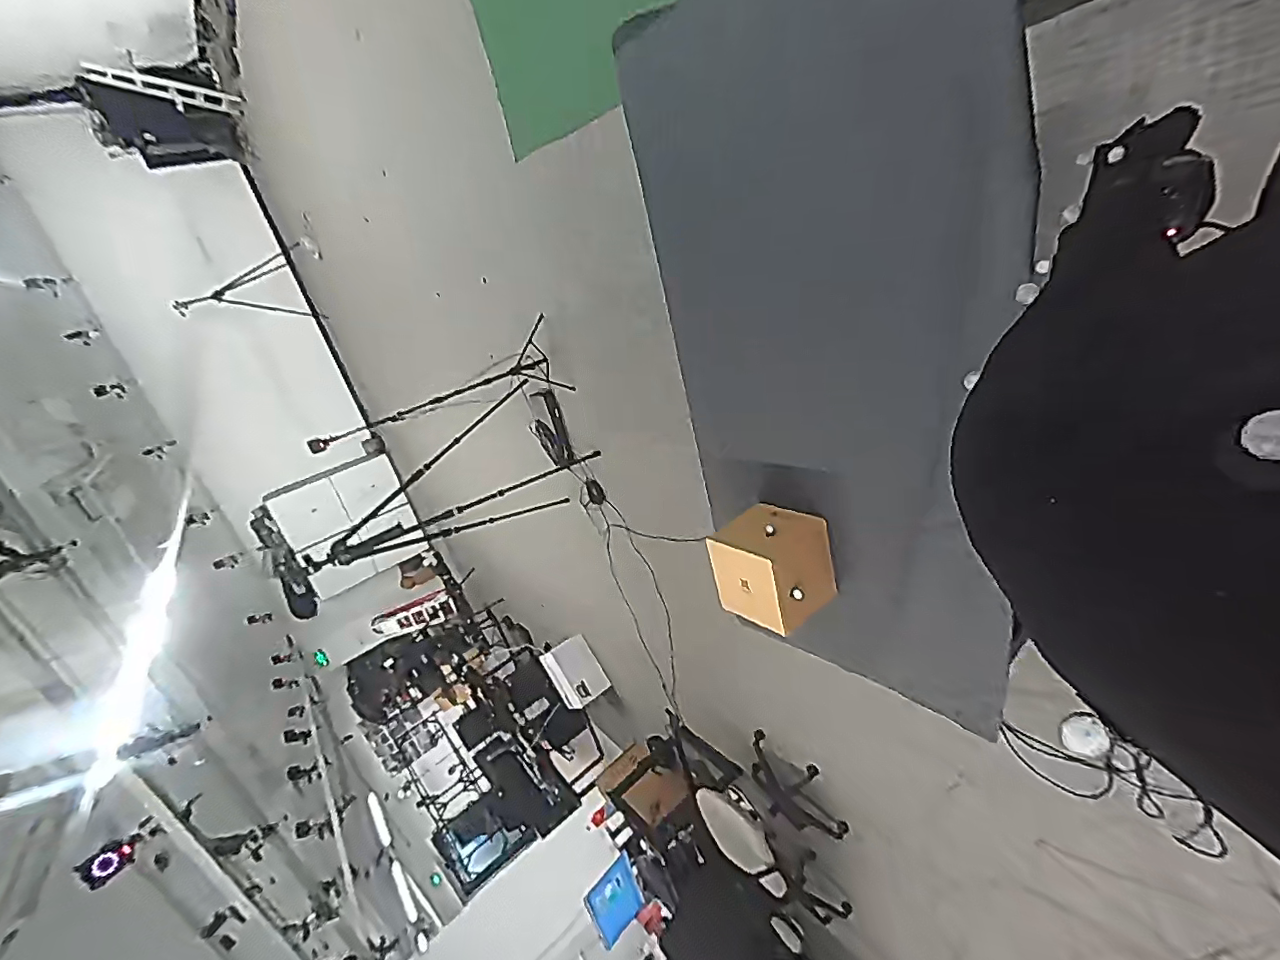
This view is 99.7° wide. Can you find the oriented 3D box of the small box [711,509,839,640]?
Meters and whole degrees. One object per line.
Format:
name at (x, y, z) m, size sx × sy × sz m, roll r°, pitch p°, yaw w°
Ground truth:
small box at (0.272, 0.177, 1.078) m, size 0.168 × 0.176 × 0.179 m, roll 13°, pitch 126°, yaw 52°
